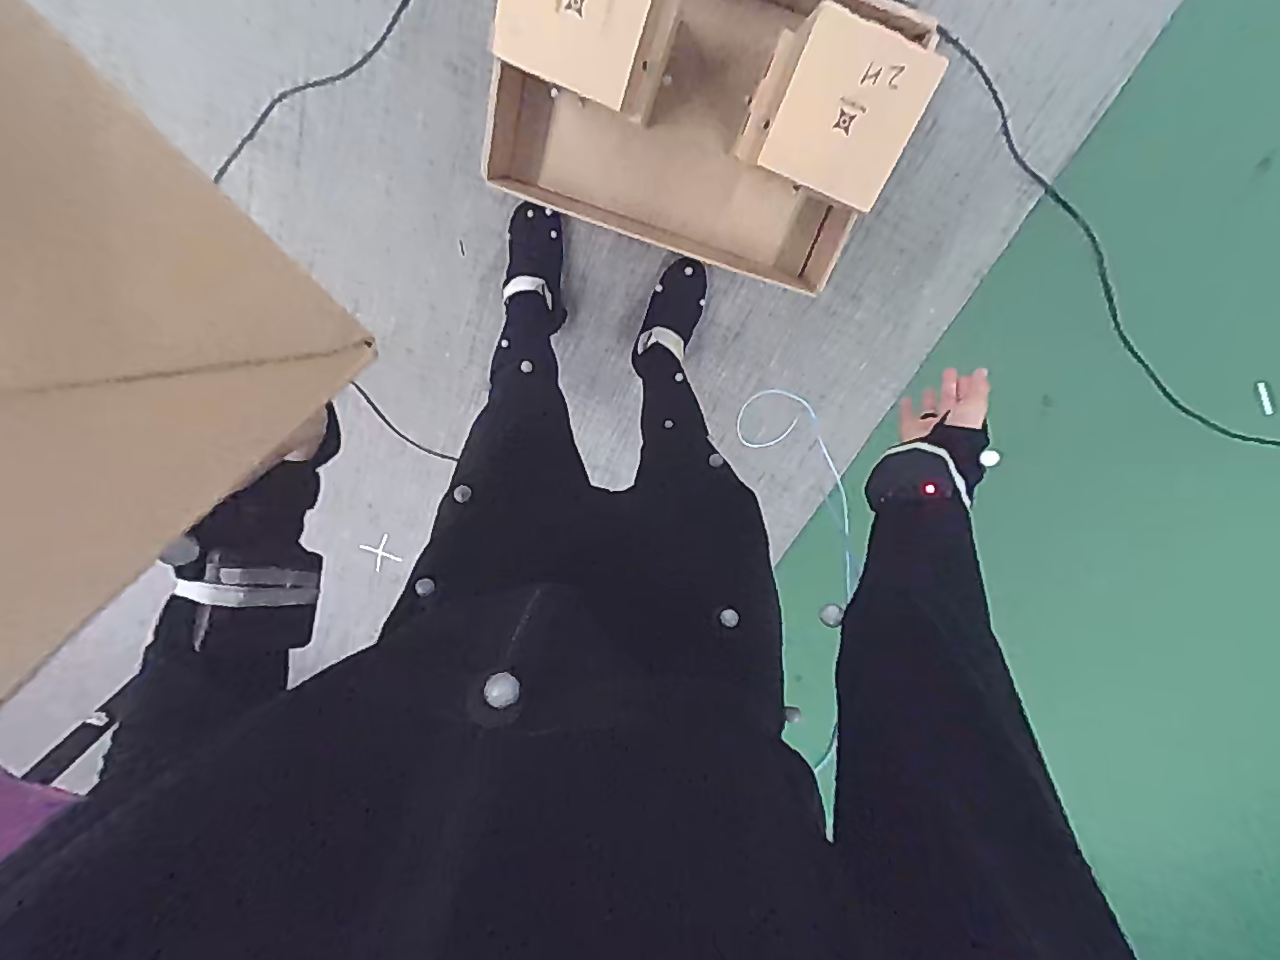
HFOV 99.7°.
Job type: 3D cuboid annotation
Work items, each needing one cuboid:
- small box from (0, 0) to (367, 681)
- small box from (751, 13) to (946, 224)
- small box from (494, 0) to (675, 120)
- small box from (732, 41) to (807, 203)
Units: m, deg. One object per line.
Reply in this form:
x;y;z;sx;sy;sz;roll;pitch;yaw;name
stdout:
-0.231;-0.035;0.170;0.176;0.179;0.168;-9;130;44;small box
0.264;-0.476;0.738;0.168;0.176;0.179;21;118;-8;small box
-0.064;-0.592;0.702;0.179;0.176;0.168;21;120;-8;small box
0.263;-0.563;0.879;0.179;0.176;0.168;22;119;-7;small box
